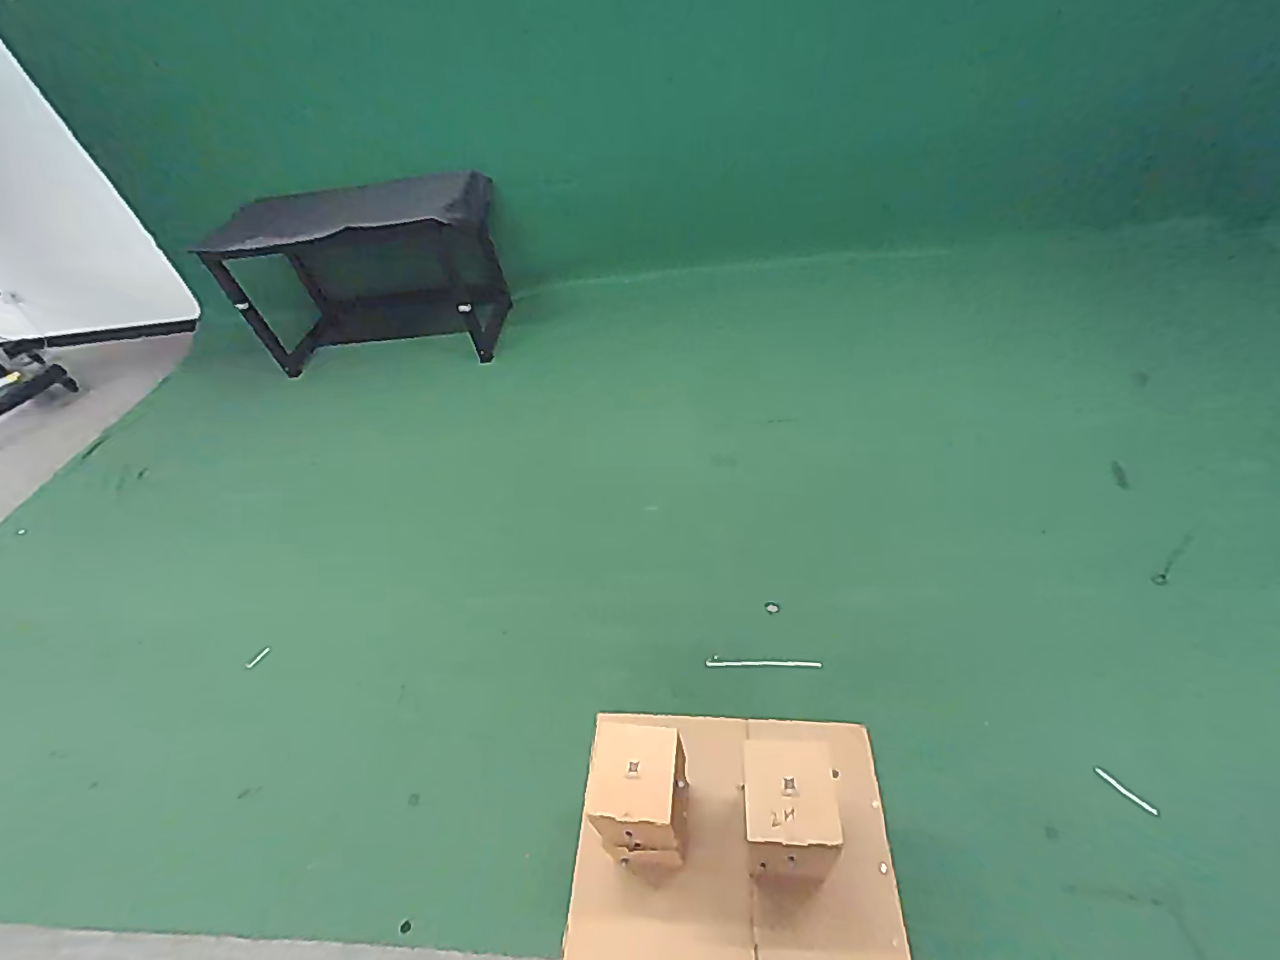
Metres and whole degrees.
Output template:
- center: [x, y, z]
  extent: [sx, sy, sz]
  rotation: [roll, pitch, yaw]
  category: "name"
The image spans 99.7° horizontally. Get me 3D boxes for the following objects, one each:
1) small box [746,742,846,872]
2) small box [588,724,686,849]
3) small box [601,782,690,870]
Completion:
- center: [0.291, 0.632, 1.048]
  extent: [0.168, 0.176, 0.179]
  rotation: [-3, 44, 10]
  category: "small box"
- center: [0.003, 0.630, 1.112]
  extent: [0.168, 0.176, 0.179]
  rotation: [0, 45, 12]
  category: "small box"
- center: [0.021, 0.753, 1.217]
  extent: [0.168, 0.176, 0.179]
  rotation: [-1, 44, 11]
  category: "small box"
